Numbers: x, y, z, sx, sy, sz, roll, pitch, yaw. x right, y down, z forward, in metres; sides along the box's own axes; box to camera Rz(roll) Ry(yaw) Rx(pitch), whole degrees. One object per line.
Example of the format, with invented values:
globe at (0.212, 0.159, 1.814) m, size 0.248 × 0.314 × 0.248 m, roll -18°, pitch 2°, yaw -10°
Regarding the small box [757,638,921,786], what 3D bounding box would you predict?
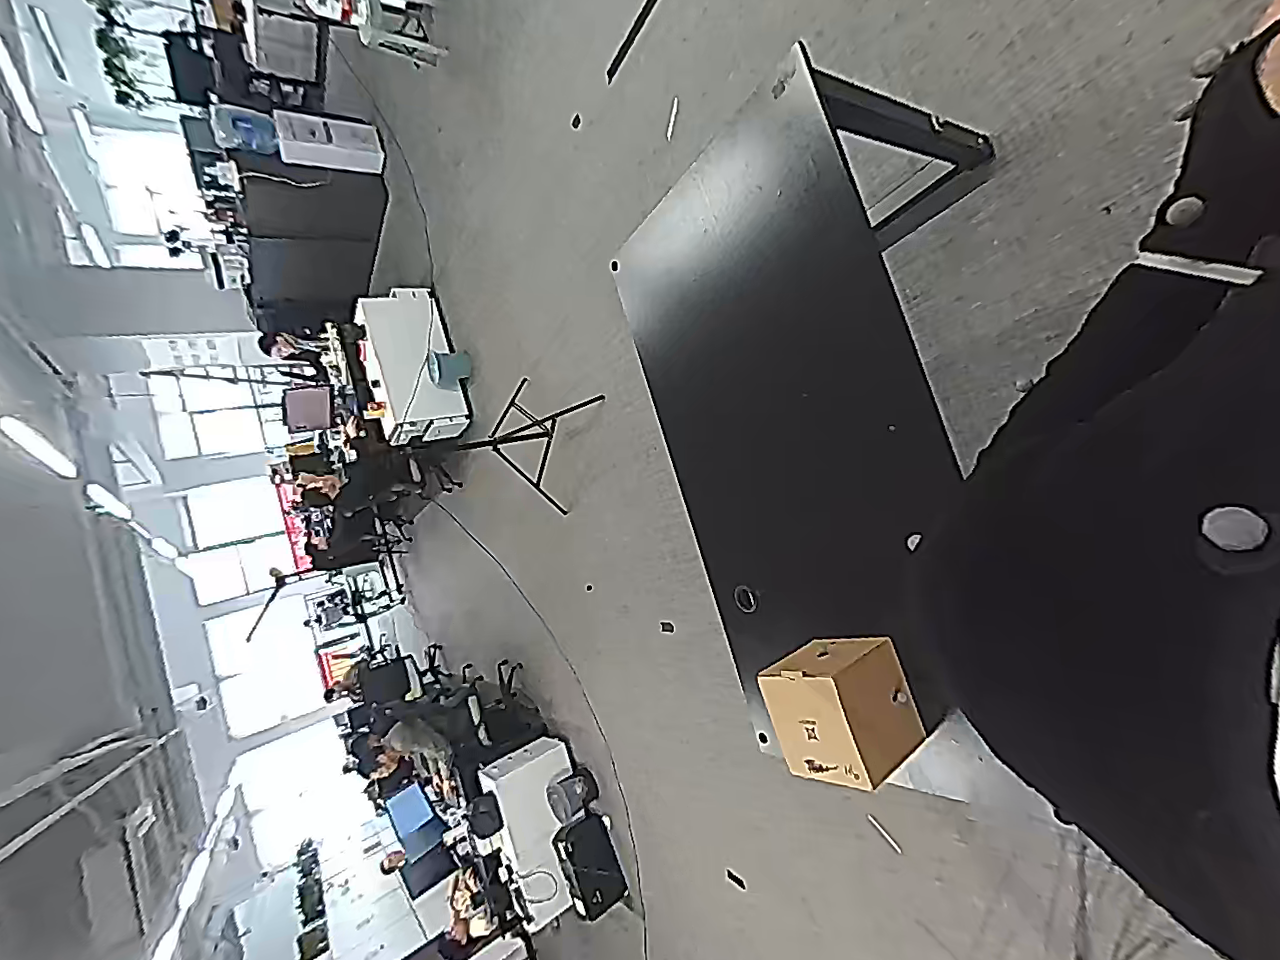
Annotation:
small box at (0.334, 0.374, 0.911) m, size 0.168 × 0.176 × 0.179 m, roll -27°, pitch 78°, yaw 54°
